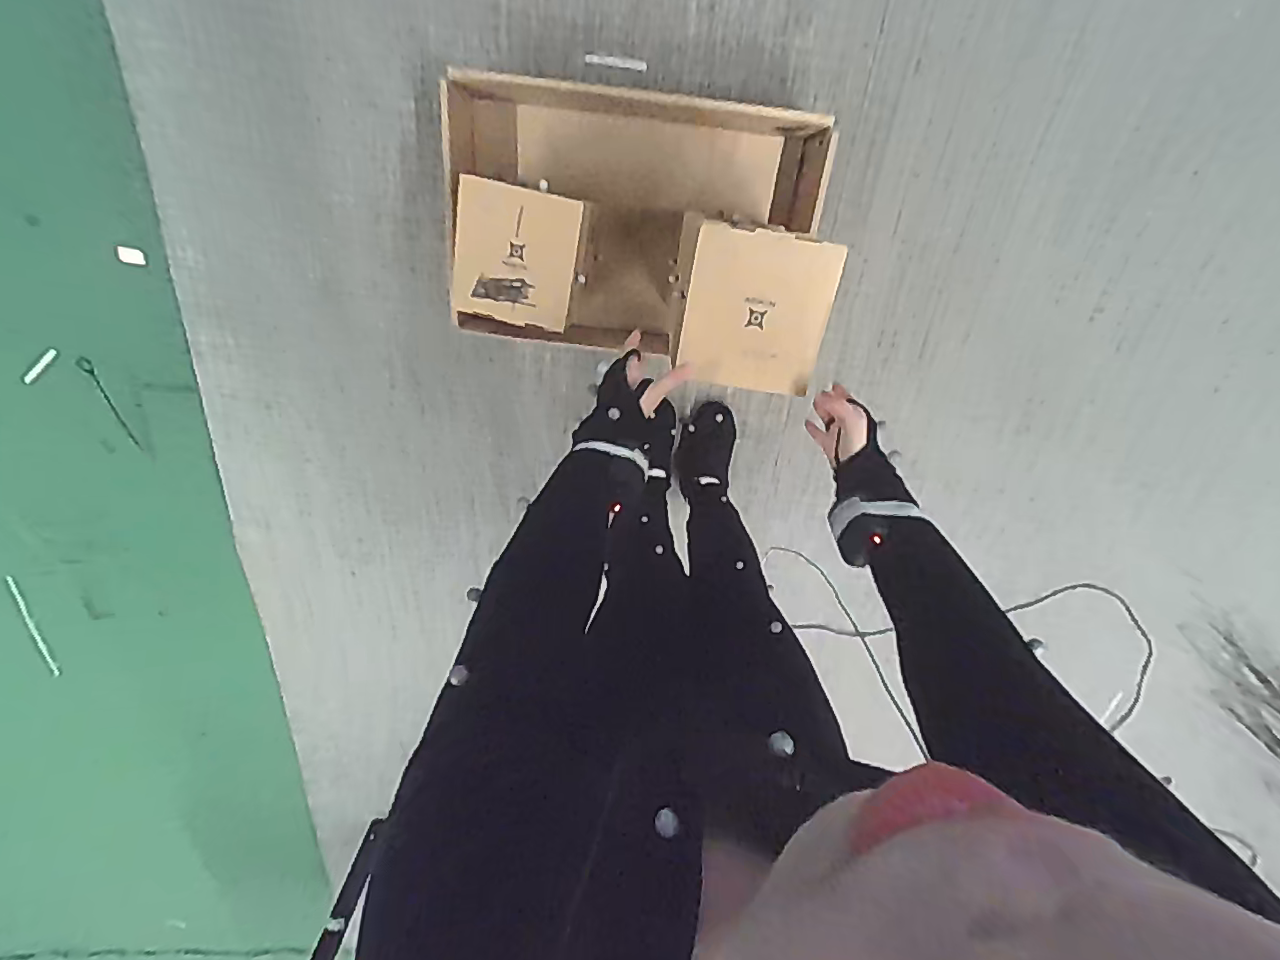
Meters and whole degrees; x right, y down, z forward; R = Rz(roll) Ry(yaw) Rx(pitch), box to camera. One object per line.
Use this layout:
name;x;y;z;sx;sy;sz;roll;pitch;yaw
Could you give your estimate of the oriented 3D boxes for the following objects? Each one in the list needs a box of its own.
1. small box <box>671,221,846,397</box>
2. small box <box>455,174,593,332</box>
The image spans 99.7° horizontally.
small box;0.134;-0.225;0.694;0.168;0.176;0.179;9;116;-3
small box;-0.168;-0.342;0.820;0.168;0.176;0.179;11;115;-5
